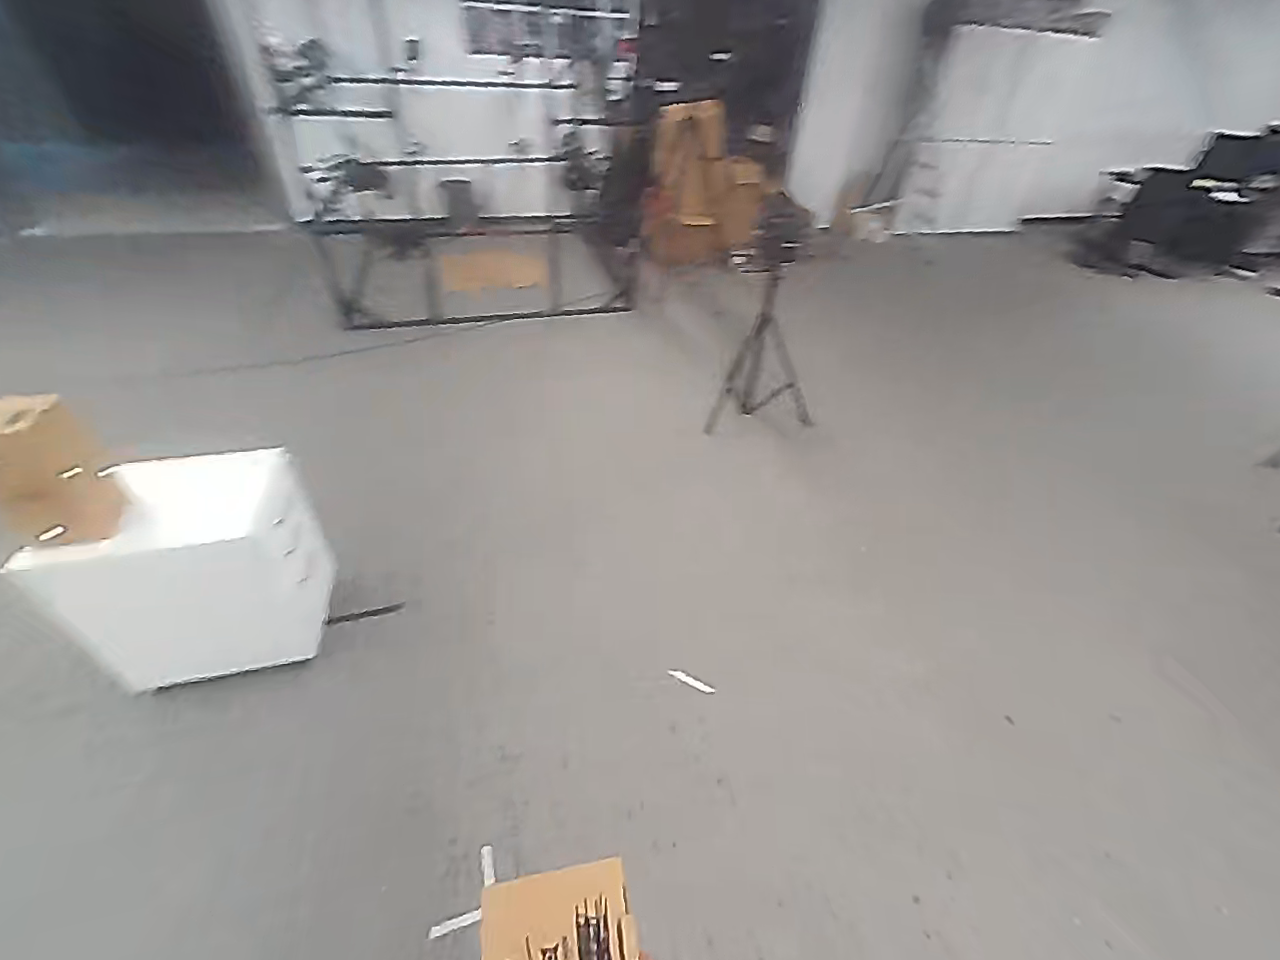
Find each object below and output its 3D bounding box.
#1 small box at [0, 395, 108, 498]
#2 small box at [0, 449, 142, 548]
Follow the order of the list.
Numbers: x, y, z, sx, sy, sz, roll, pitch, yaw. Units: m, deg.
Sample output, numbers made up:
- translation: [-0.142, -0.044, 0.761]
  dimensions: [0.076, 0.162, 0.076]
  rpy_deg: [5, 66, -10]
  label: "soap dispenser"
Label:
- translation: [-1.415, -0.077, 1.260]
  dimensions: [0.179, 0.176, 0.168]
  rpy_deg: [-8, 40, -13]
  label: "small box"
- translation: [-1.422, 0.045, 1.370]
  dimensions: [0.168, 0.176, 0.179]
  rpy_deg: [-8, 41, -13]
  label: "small box"
